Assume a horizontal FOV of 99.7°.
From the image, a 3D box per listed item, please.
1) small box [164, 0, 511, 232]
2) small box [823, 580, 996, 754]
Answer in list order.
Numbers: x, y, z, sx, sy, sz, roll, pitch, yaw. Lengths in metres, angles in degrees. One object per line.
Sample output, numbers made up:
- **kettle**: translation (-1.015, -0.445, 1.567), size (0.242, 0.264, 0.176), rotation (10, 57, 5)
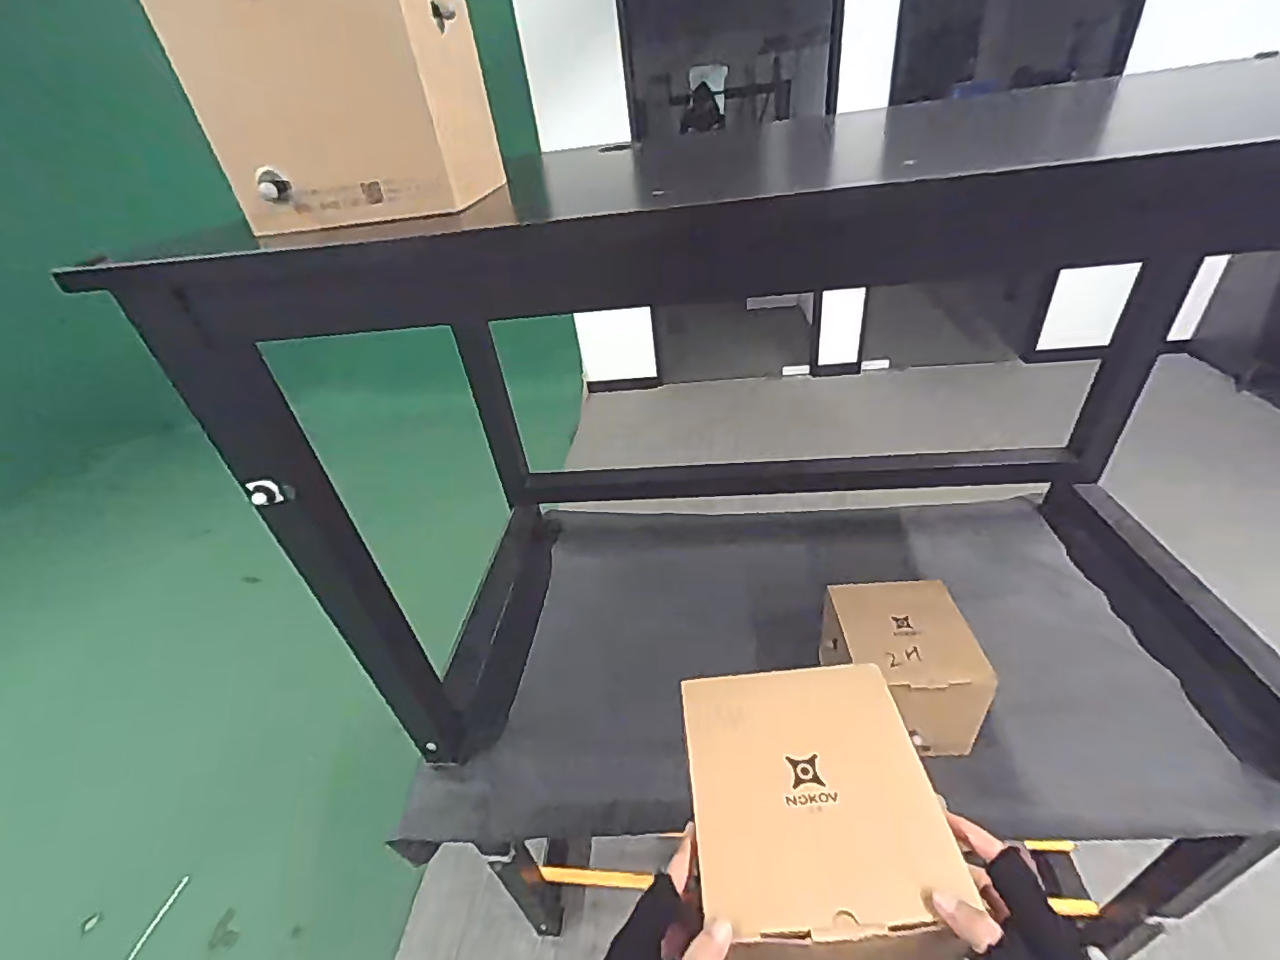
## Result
- **small box**: translation (-0.216, -0.311, 0.446), size (0.168, 0.176, 0.179), rotation (-5, 34, 4)
- **small box**: translation (0.370, 0.268, 0.784), size (0.168, 0.176, 0.179), rotation (-4, 34, 6)
